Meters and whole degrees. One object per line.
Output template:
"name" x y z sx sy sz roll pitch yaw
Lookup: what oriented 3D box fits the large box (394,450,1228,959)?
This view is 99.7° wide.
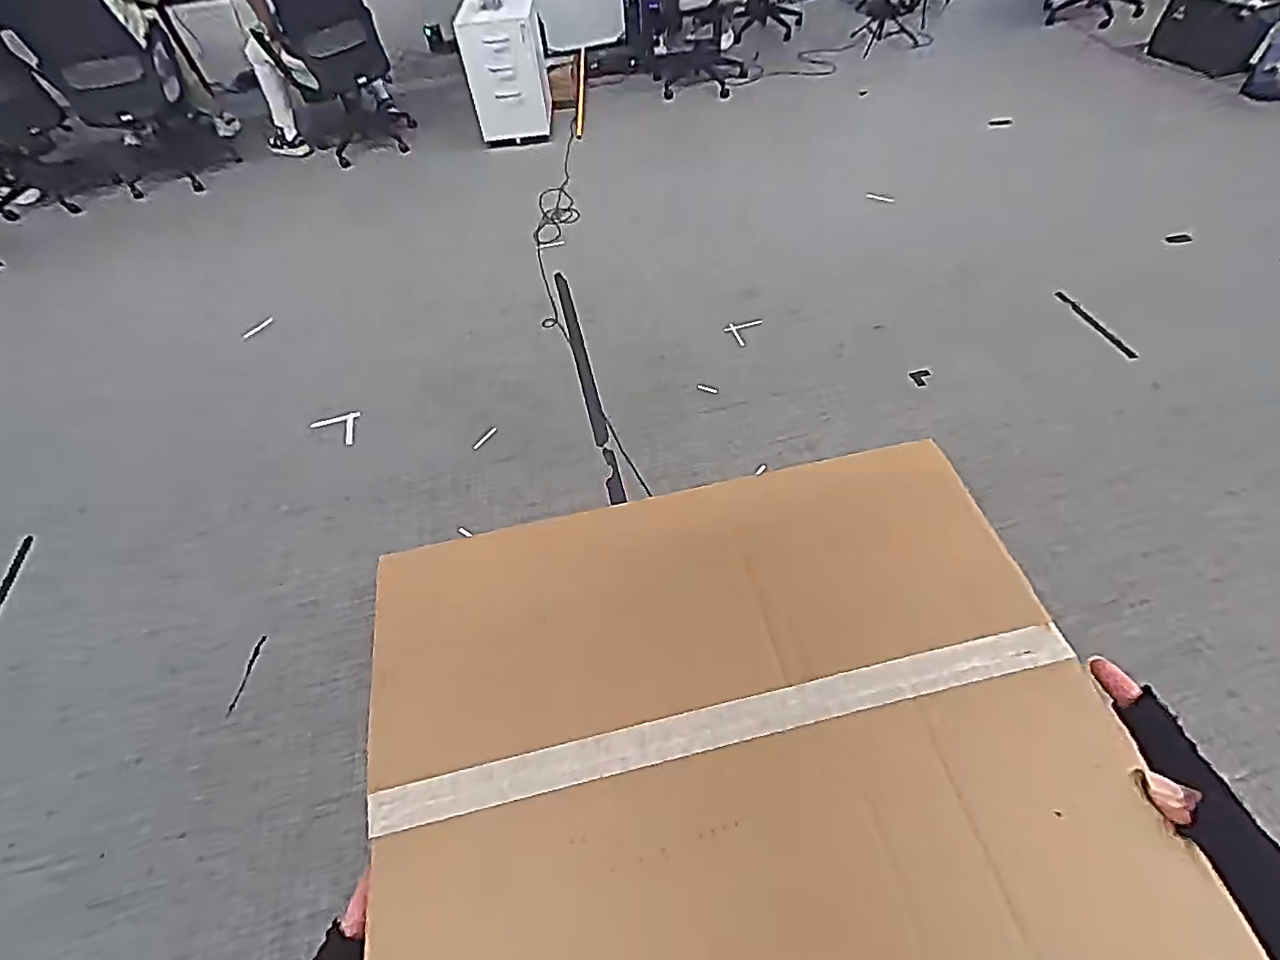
"large box" 0.062 0.224 0.444 0.408 0.320 0.320 -12 58 -4
